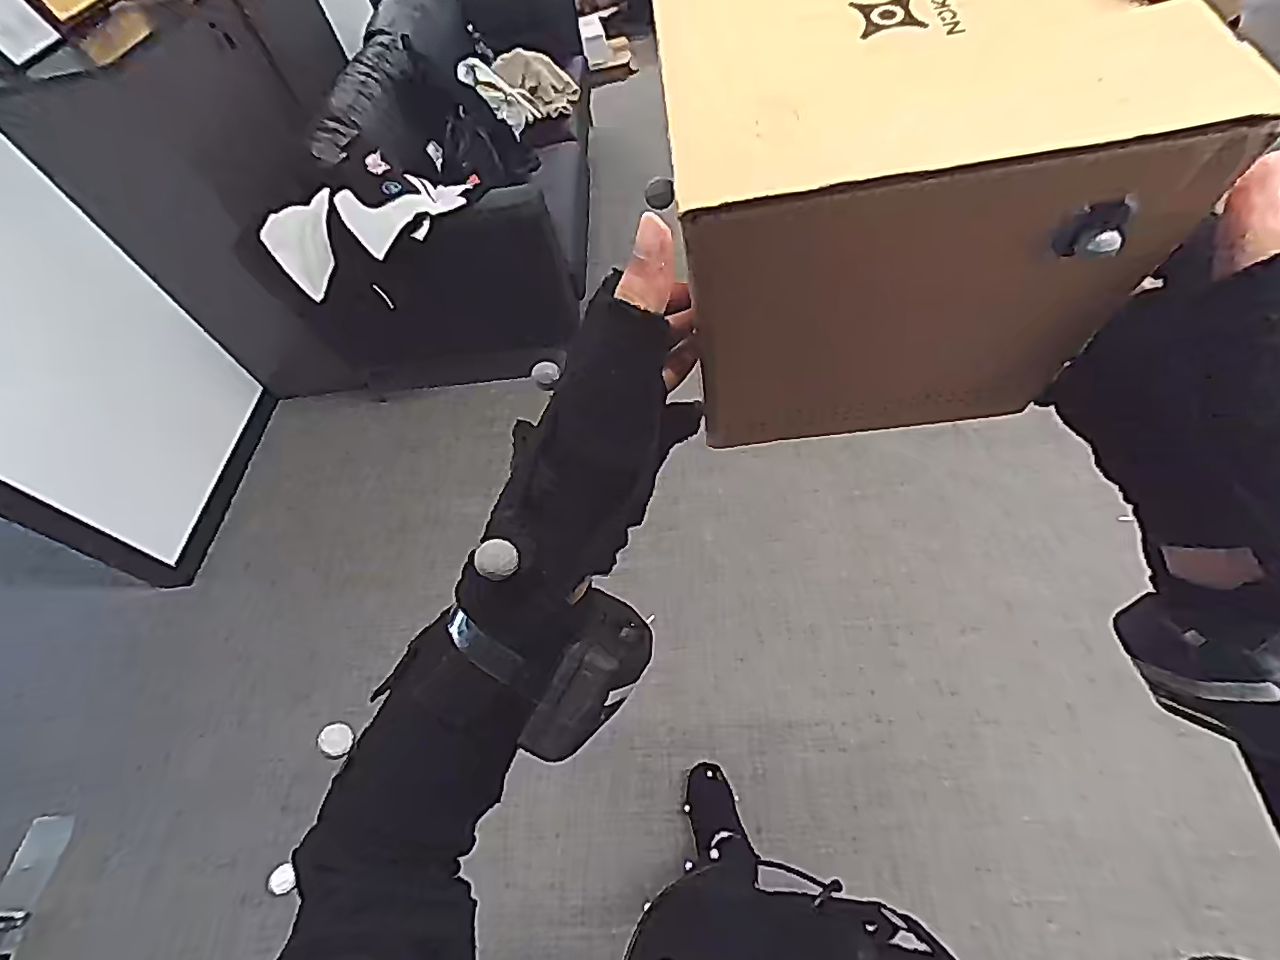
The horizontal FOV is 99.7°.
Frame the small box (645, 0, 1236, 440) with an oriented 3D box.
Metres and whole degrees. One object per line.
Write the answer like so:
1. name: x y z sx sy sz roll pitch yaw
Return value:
1. small box: 0.105 -0.133 0.278 0.179 0.176 0.168 -7 65 7
